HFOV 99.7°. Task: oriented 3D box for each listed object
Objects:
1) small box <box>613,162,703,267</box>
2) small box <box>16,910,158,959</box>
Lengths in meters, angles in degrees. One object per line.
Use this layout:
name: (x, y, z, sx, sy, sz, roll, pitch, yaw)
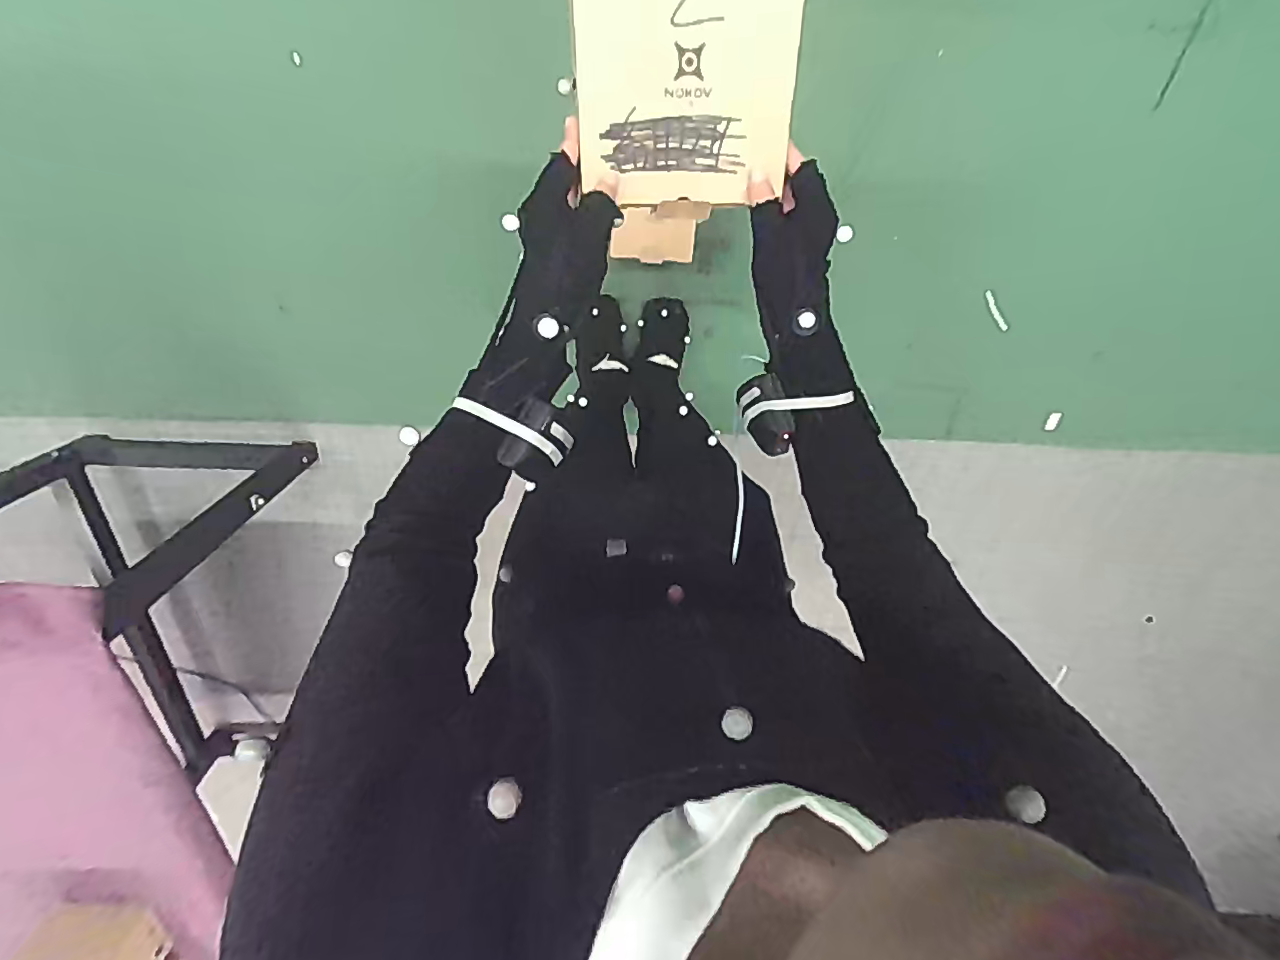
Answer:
small box: (0.029, -0.545, 1.117, 0.168, 0.176, 0.179, 3, 117, -3)
small box: (-1.073, 0.955, 1.027, 0.179, 0.176, 0.168, 4, 116, -3)
